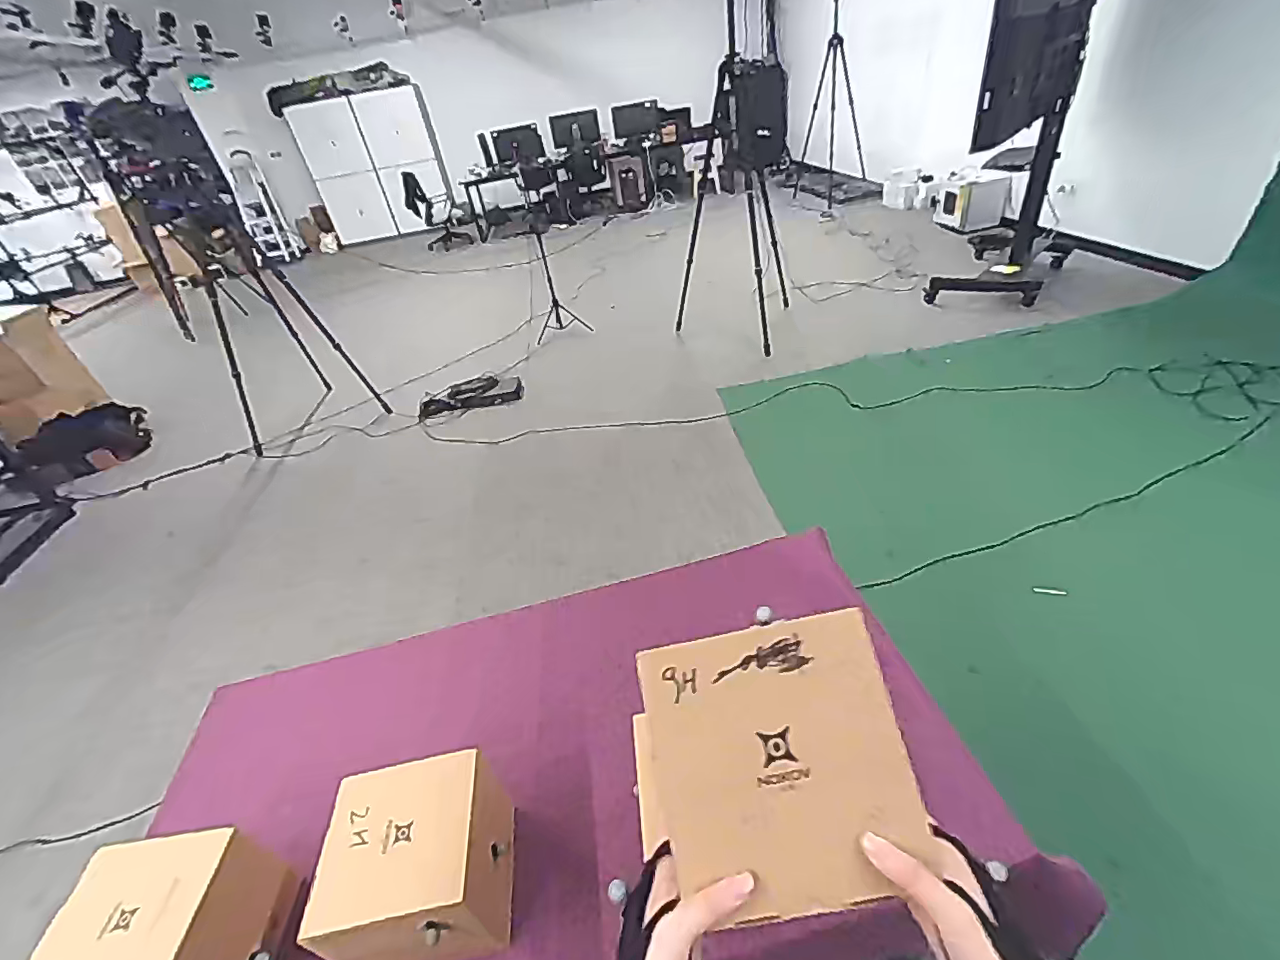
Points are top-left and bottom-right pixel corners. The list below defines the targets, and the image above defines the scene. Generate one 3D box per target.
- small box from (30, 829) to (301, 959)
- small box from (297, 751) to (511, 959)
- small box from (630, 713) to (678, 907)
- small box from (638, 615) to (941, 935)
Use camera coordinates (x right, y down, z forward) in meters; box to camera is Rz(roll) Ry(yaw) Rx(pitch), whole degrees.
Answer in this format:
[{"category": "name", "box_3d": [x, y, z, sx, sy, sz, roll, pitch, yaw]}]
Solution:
[{"category": "small box", "box_3d": [-0.557, 0.548, 0.642, 0.179, 0.176, 0.168, -9, 37, 2]}, {"category": "small box", "box_3d": [-0.267, 0.471, 0.668, 0.179, 0.176, 0.168, -12, 36, -2]}, {"category": "small box", "box_3d": [0.091, 0.400, 0.673, 0.179, 0.176, 0.168, -10, 37, 1]}, {"category": "small box", "box_3d": [0.102, 0.211, 0.435, 0.168, 0.176, 0.179, -12, 73, 3]}]
